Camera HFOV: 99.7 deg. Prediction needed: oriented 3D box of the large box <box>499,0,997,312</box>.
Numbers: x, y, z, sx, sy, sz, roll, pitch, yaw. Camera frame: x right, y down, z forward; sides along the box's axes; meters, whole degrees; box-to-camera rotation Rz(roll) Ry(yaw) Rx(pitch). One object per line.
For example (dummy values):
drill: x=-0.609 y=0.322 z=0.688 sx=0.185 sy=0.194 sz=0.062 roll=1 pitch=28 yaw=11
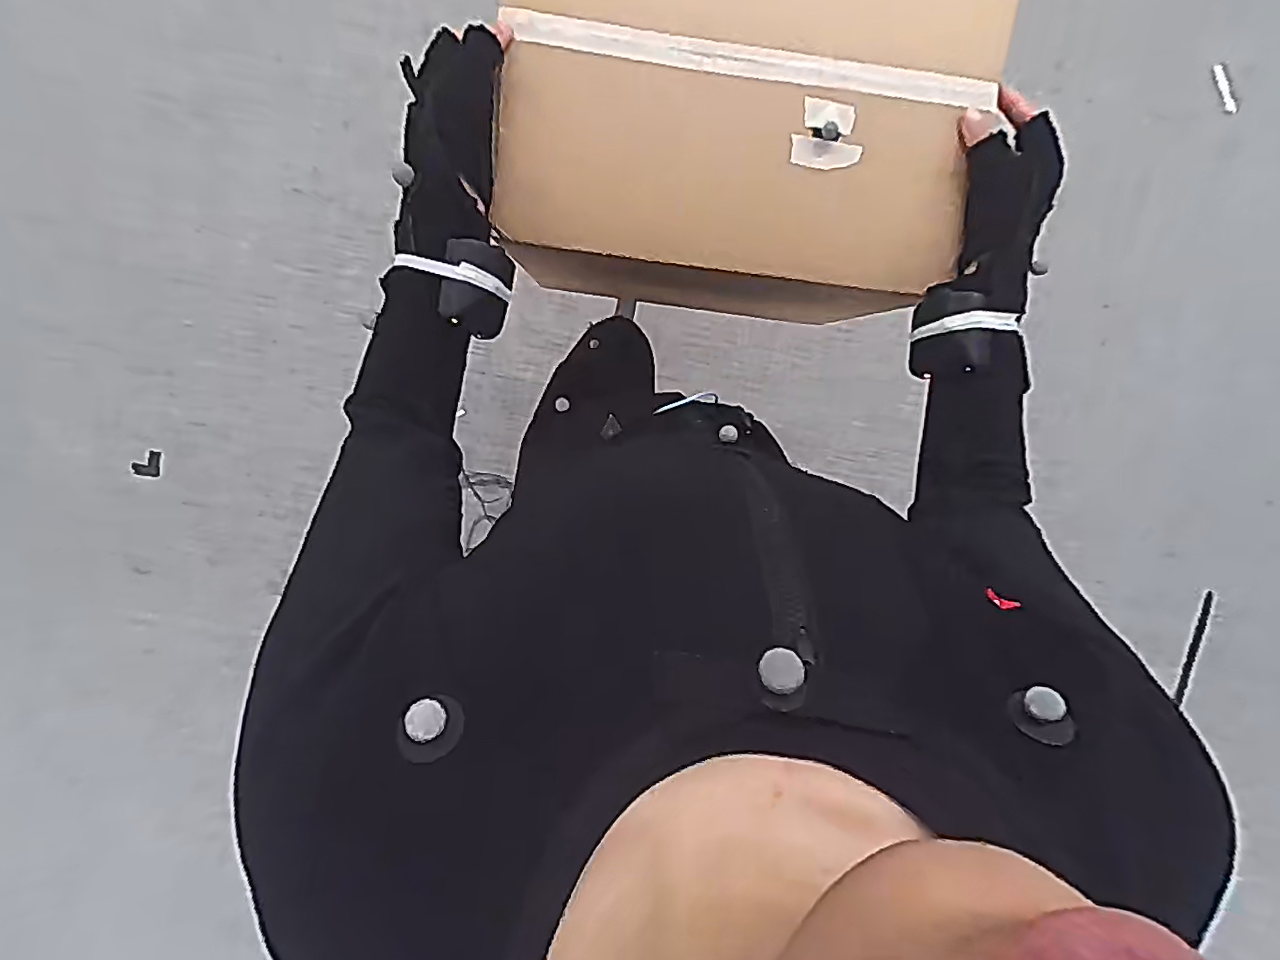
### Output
large box: x=0.080 y=-0.375 z=0.592 sx=0.408 sy=0.320 sz=0.320 roll=6 pitch=103 yaw=-4
